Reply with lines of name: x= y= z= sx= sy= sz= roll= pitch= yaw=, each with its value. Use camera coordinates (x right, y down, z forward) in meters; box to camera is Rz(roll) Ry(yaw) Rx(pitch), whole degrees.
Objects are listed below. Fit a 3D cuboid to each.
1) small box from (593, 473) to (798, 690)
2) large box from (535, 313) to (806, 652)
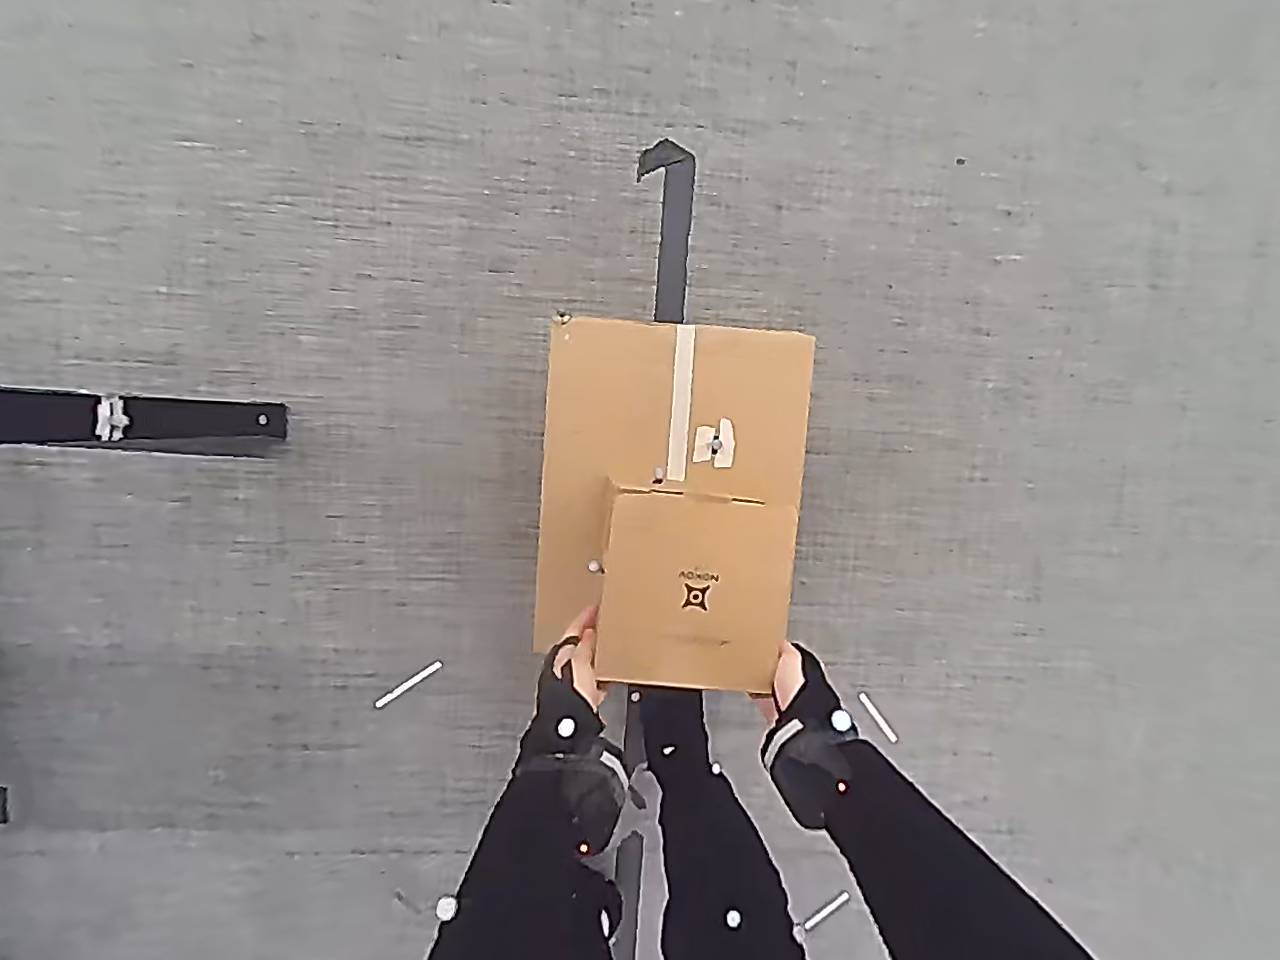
small box: x=0.043 y=0.088 z=0.552 sx=0.168 sy=0.176 sz=0.179 roll=7 pitch=93 yaw=-5
large box: x=0.030 y=0.001 z=0.795 sx=0.320 sy=0.320 sz=0.408 roll=4 pitch=94 yaw=-4
